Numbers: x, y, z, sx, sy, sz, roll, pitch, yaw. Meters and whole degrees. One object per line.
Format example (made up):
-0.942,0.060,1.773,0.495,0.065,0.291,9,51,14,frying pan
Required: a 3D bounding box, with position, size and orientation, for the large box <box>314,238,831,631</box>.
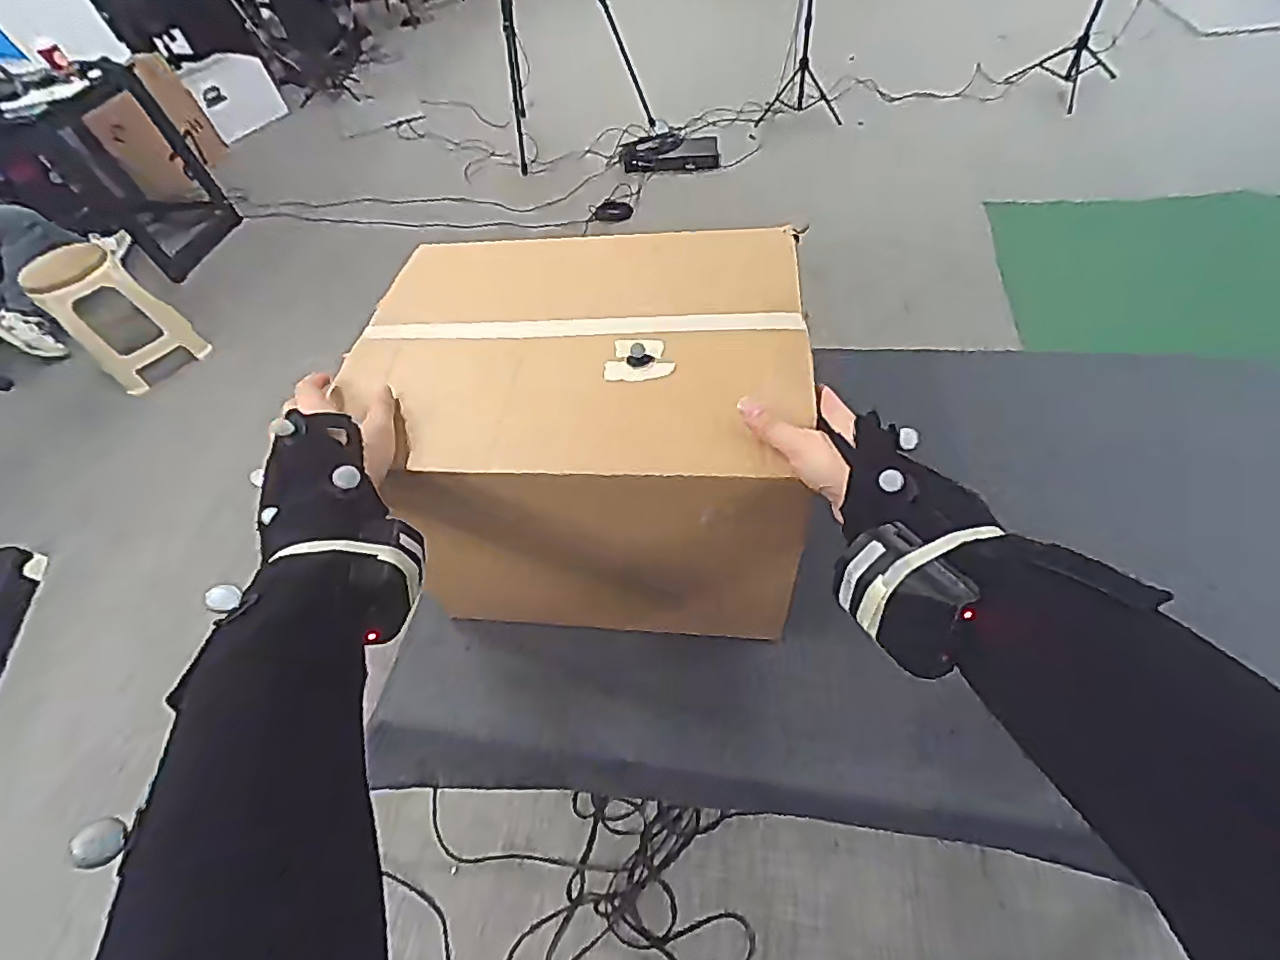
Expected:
-0.037,-0.039,0.605,0.408,0.320,0.320,2,55,8,large box
